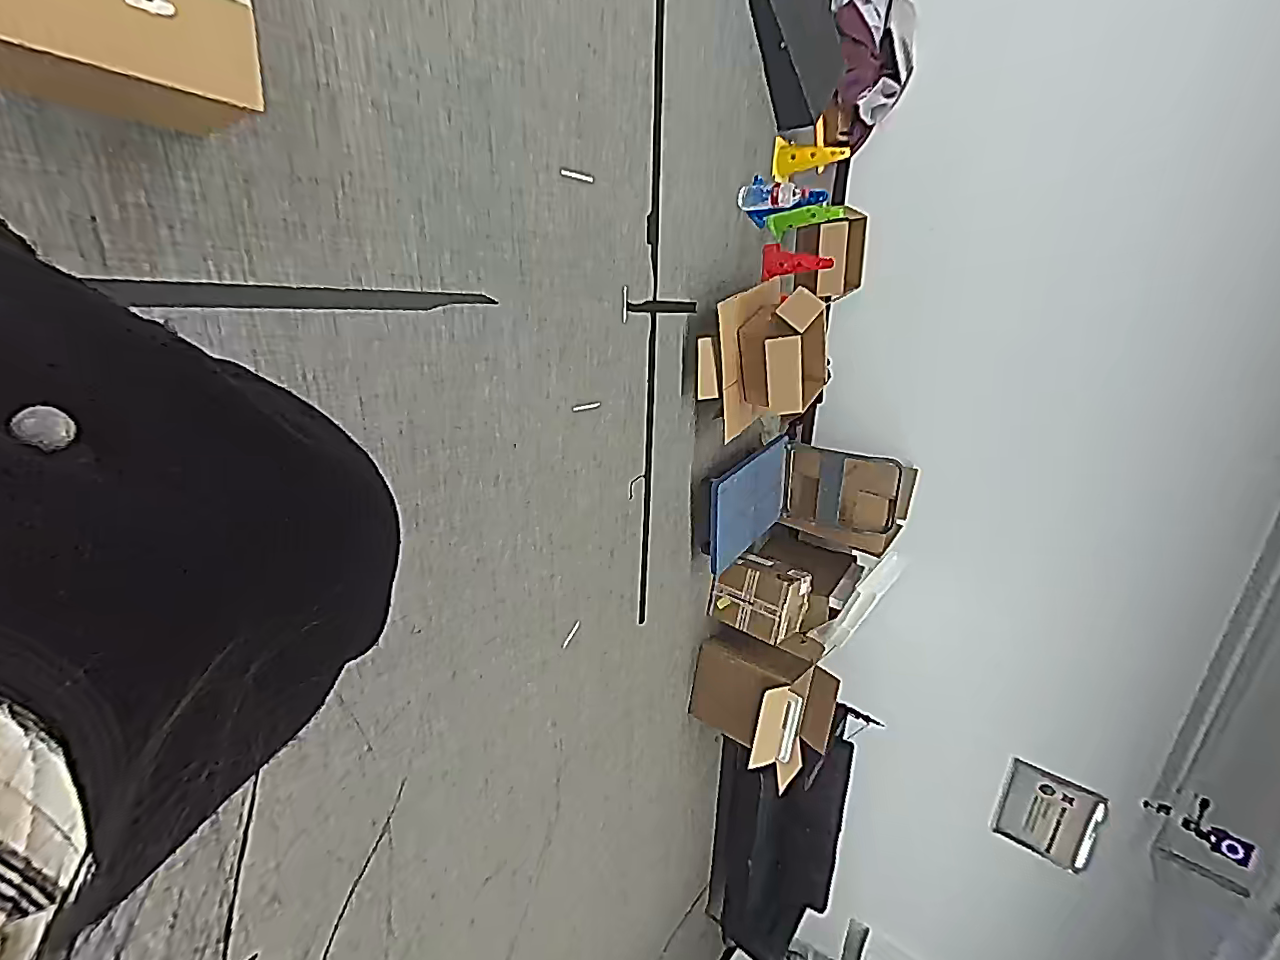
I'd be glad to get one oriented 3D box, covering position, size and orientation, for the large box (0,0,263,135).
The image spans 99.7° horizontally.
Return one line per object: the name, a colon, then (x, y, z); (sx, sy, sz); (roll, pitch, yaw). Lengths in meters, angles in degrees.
large box: (-0.870, -0.762, 0.805); (0.408, 0.320, 0.320); (-18, 118, -51)
